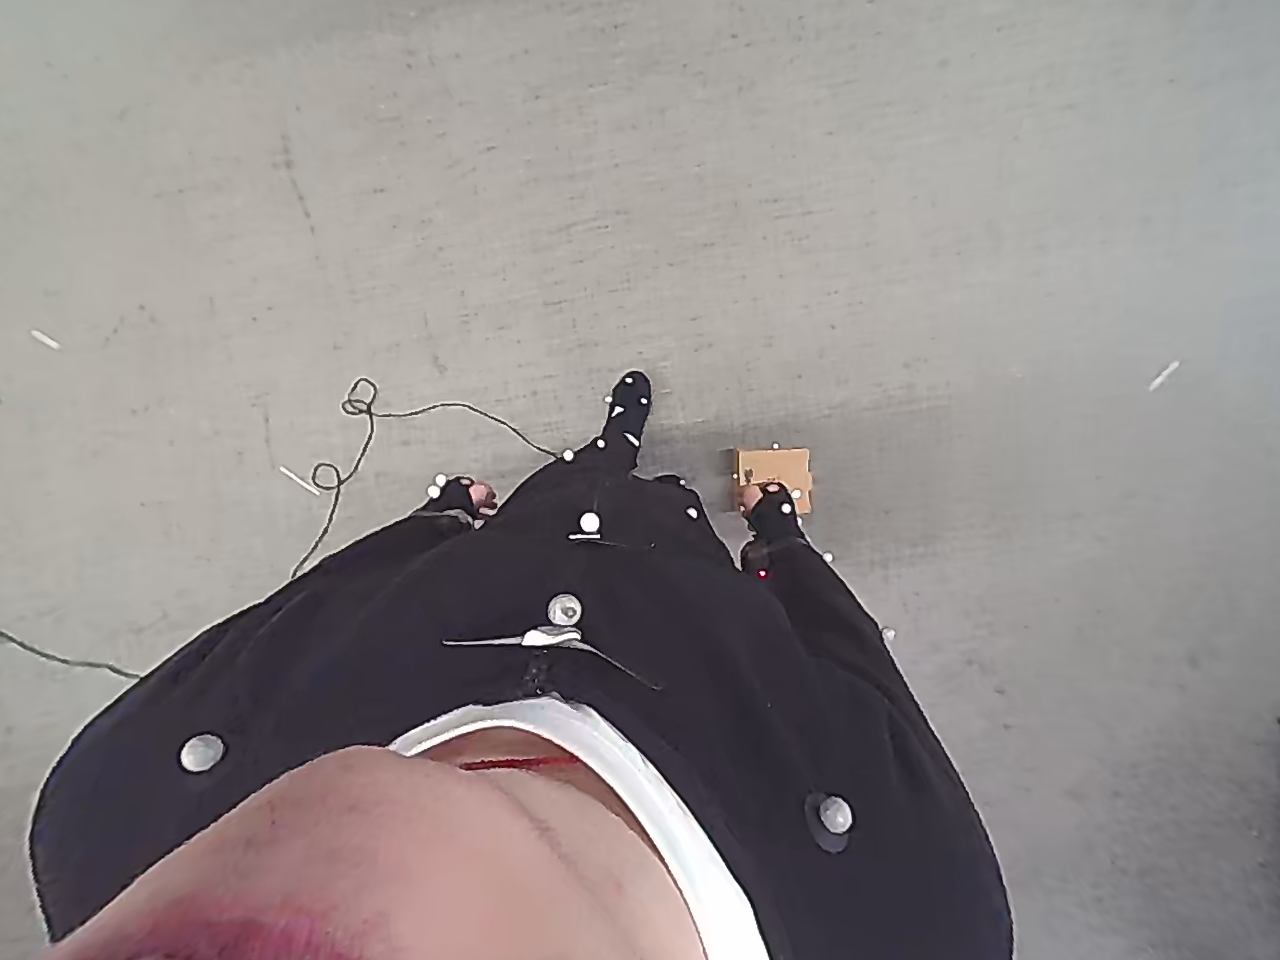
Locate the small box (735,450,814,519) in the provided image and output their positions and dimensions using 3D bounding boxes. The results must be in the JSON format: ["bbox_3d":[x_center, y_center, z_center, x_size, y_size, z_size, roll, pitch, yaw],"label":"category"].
[{"bbox_3d":[0.352,0.007,1.437,0.179,0.176,0.168,-2,96,4],"label":"small box"}]
